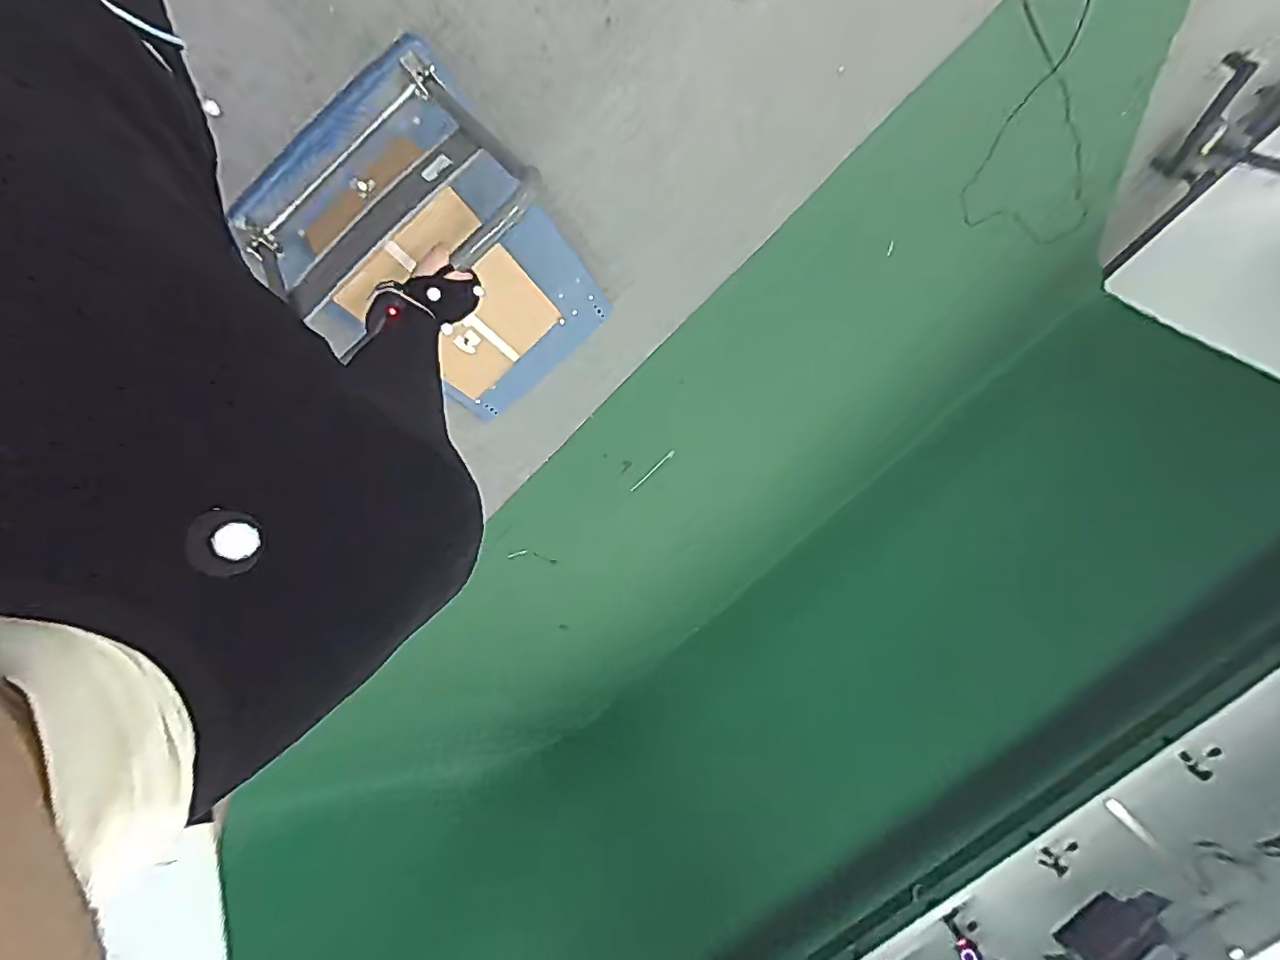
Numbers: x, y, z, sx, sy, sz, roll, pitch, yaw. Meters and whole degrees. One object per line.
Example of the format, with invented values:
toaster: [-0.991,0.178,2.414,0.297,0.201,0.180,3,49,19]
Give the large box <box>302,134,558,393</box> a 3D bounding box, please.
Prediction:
large box: [-0.474,-0.481,1.251,0.320,0.320,0.408,-41,147,6]
